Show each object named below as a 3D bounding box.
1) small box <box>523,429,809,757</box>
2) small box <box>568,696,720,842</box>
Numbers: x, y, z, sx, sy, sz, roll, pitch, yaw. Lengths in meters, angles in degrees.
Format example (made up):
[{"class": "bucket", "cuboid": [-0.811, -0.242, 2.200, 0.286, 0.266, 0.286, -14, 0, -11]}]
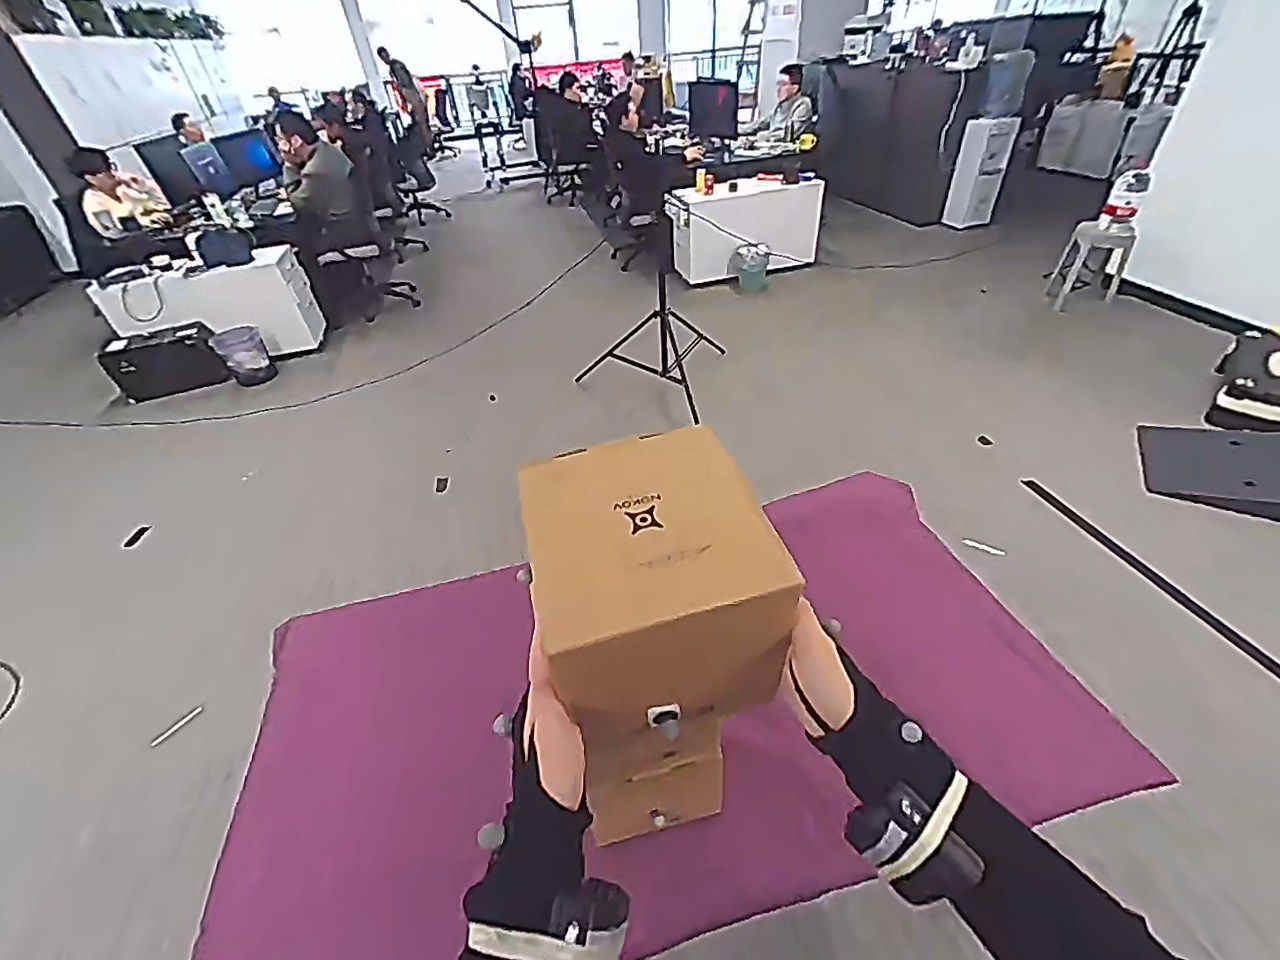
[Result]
[{"class": "small box", "cuboid": [0.010, 0.088, 0.439, 0.168, 0.176, 0.179, -14, 45, -9]}, {"class": "small box", "cuboid": [0.000, 0.336, 0.715, 0.168, 0.176, 0.179, -12, 39, -7]}]
